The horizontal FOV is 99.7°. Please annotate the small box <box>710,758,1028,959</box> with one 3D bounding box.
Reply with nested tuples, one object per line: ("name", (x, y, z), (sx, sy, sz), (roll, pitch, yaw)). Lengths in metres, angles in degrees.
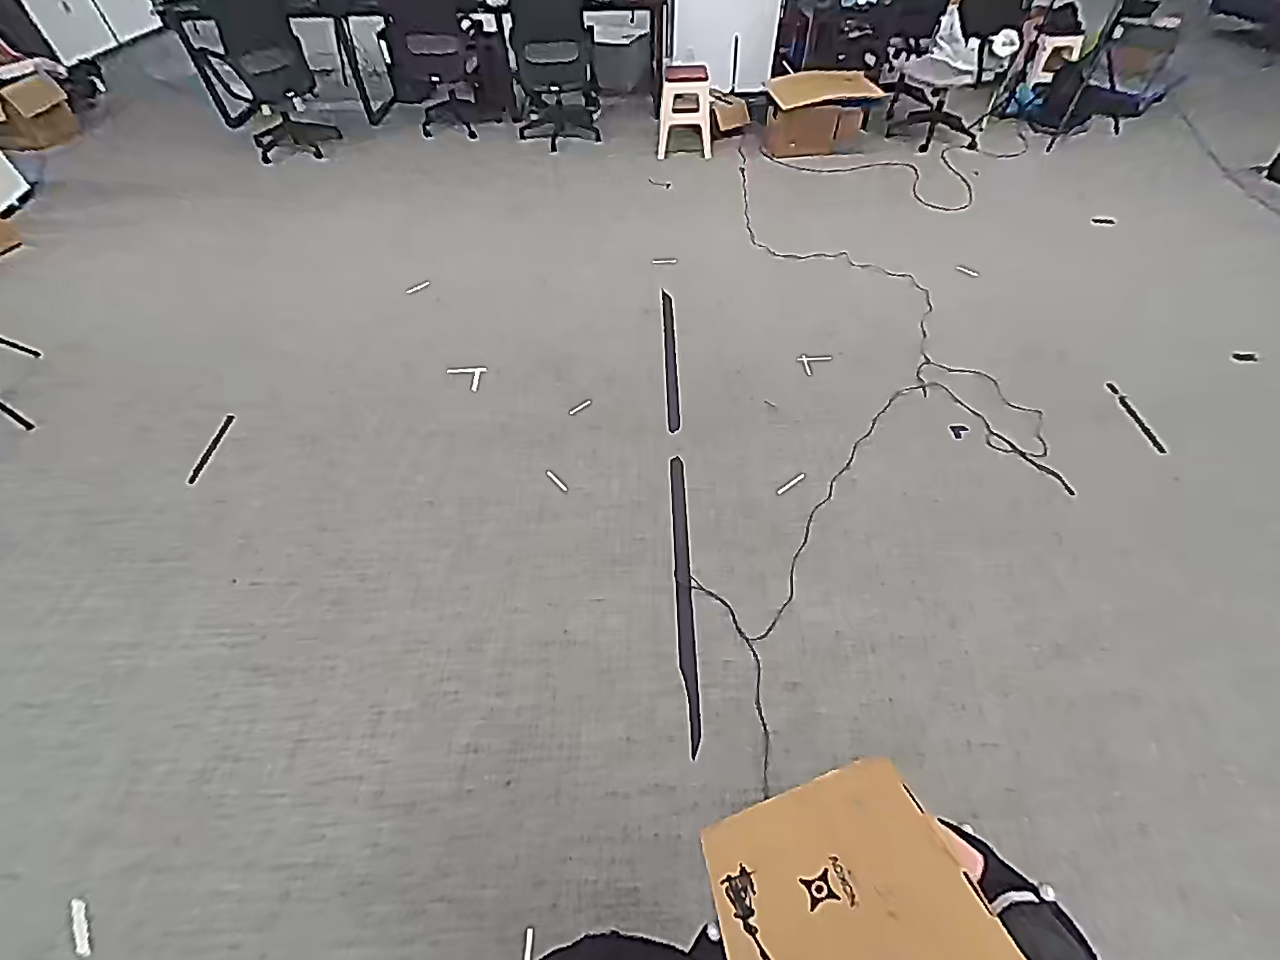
("small box", (0.177, 0.369, 0.422), (0.179, 0.176, 0.168), (-24, 15, 1))
